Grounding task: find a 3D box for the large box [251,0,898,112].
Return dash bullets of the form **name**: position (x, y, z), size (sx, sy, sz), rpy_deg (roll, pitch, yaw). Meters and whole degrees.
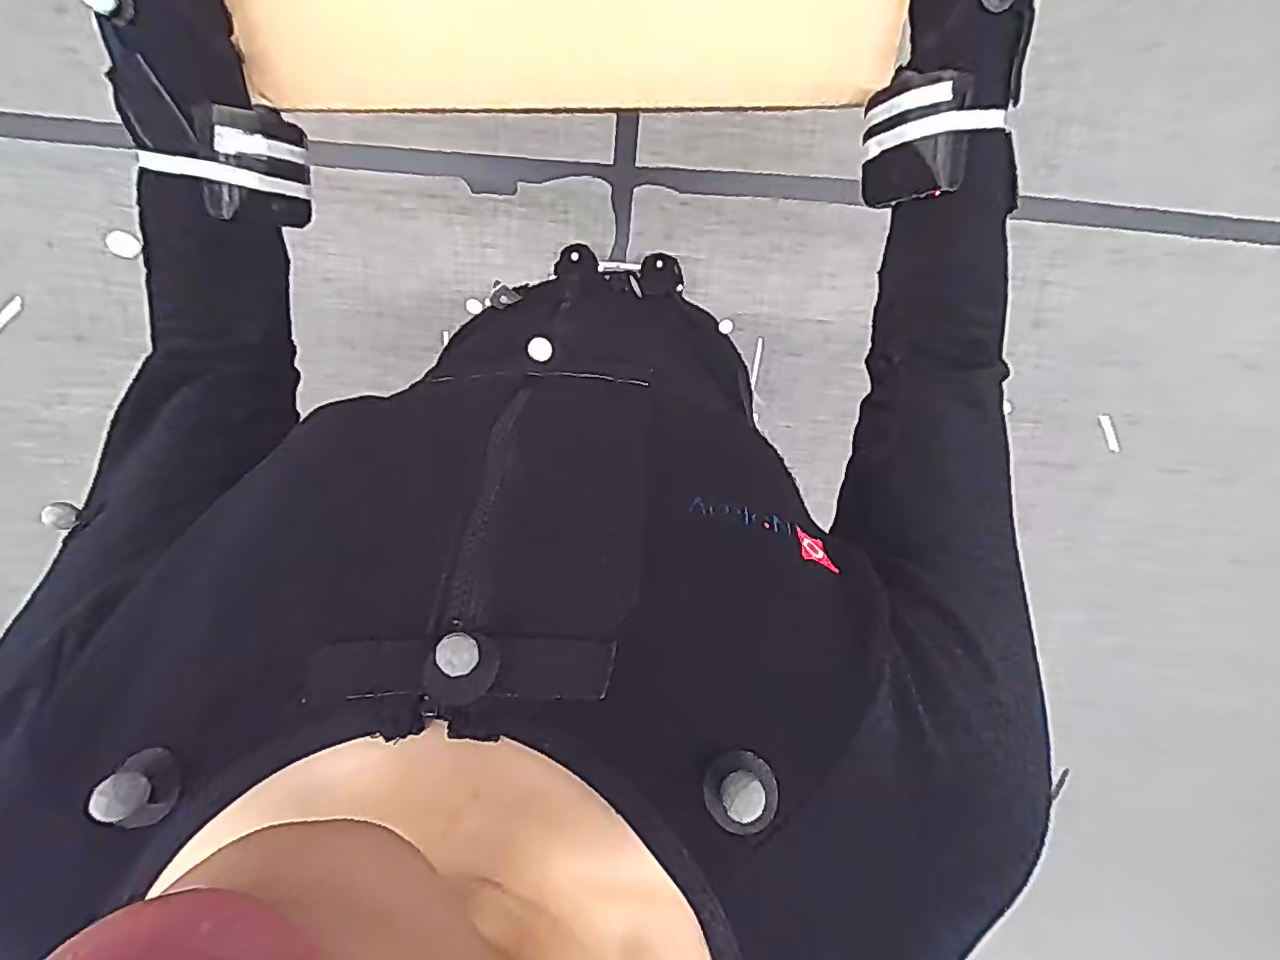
- **large box**: position (-0.045, -0.463, 0.396), size (0.408, 0.320, 0.320), rpy_deg (-1, 125, -1)
